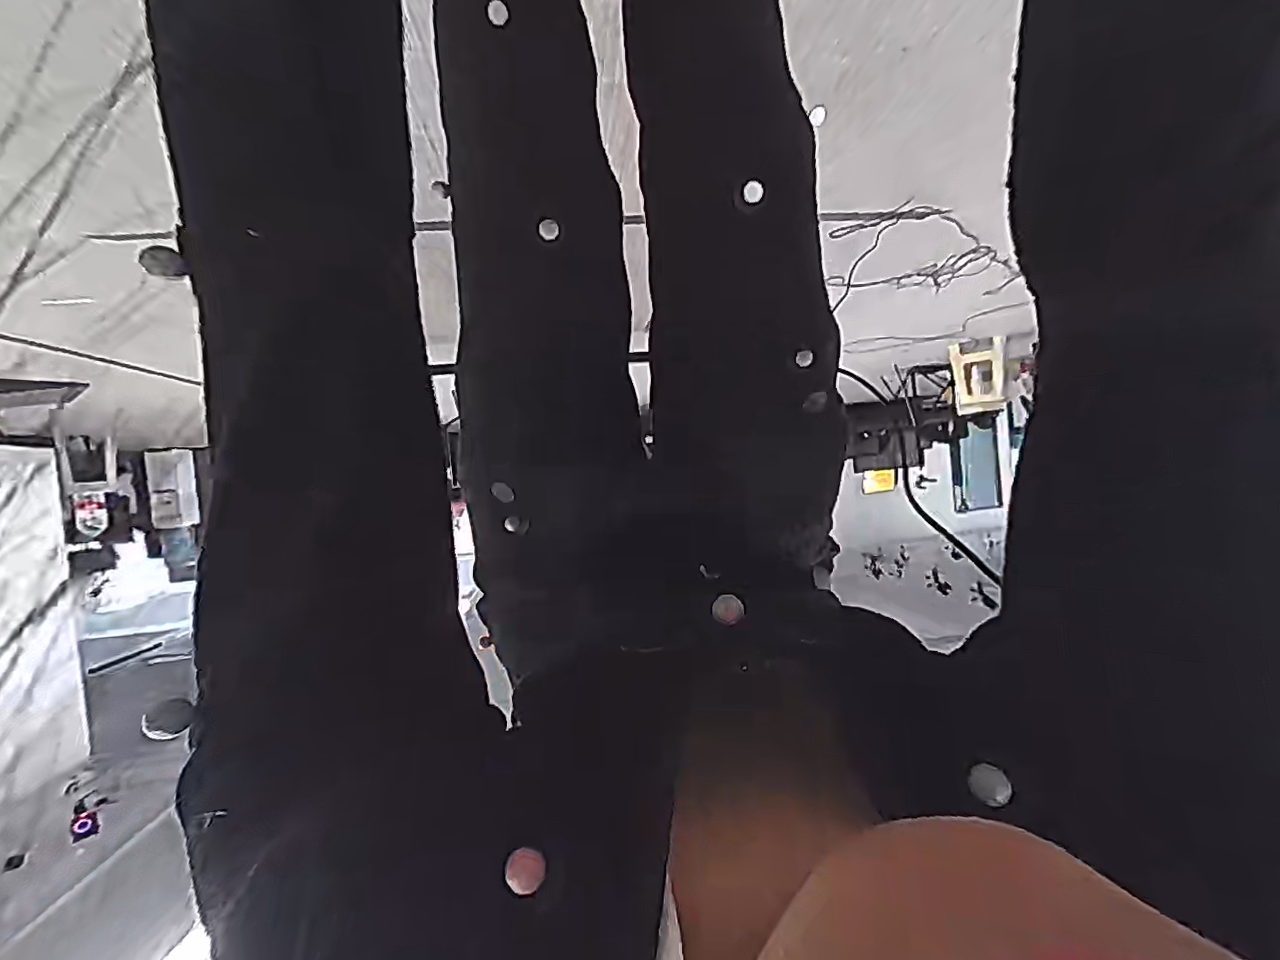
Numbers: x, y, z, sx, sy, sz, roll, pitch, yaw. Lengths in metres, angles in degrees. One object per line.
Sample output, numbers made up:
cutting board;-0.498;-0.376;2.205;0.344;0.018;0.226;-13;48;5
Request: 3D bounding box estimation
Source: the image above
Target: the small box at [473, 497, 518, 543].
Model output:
small box;-0.610;0.165;2.280;0.168;0.176;0.179;-7;-178;-14
